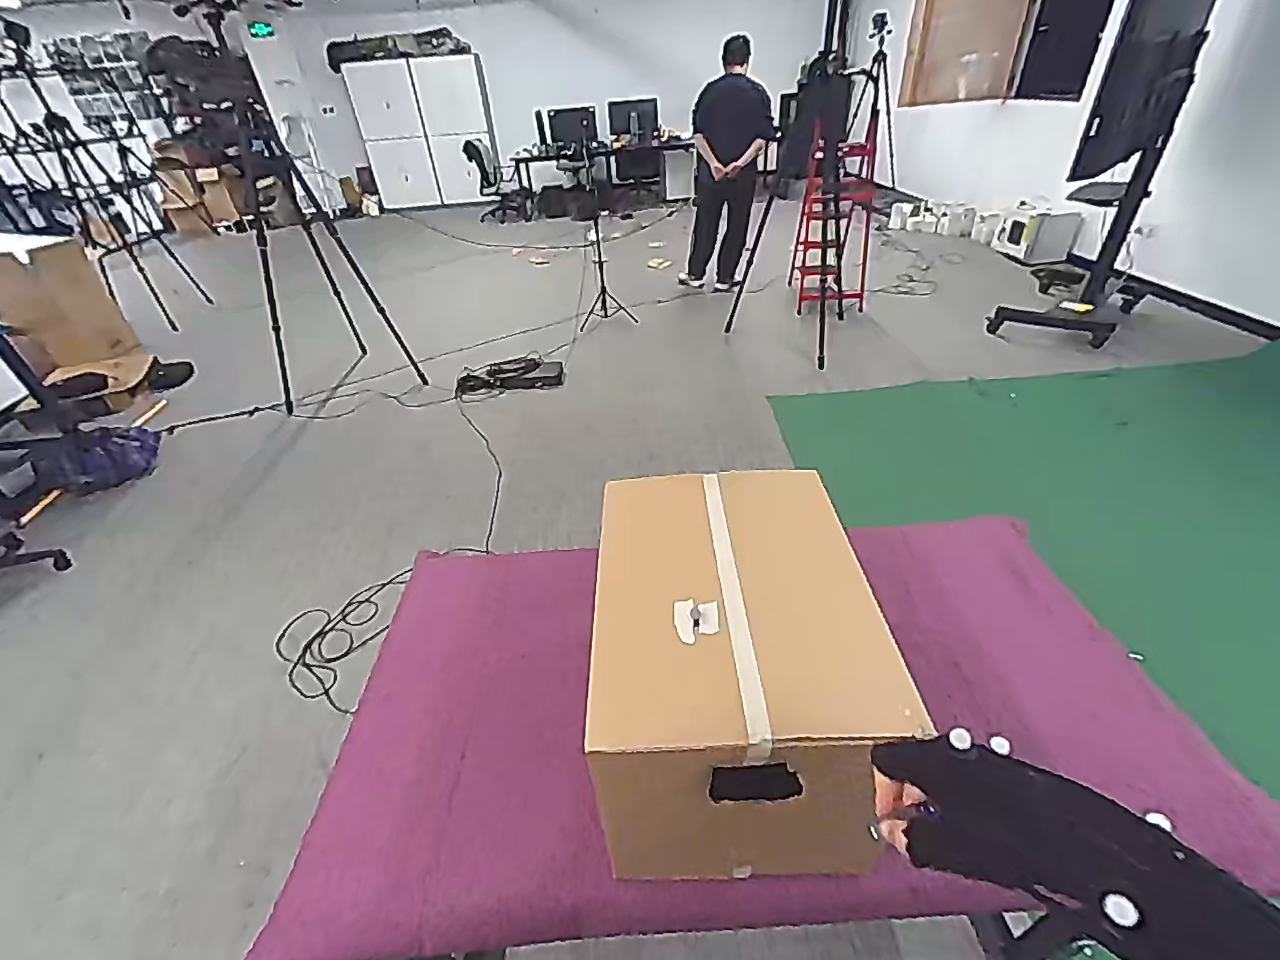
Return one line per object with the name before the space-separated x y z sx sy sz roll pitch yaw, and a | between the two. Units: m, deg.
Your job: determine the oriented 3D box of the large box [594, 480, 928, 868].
large box | 0.113 0.242 0.738 0.320 0.320 0.408 -3 37 2
